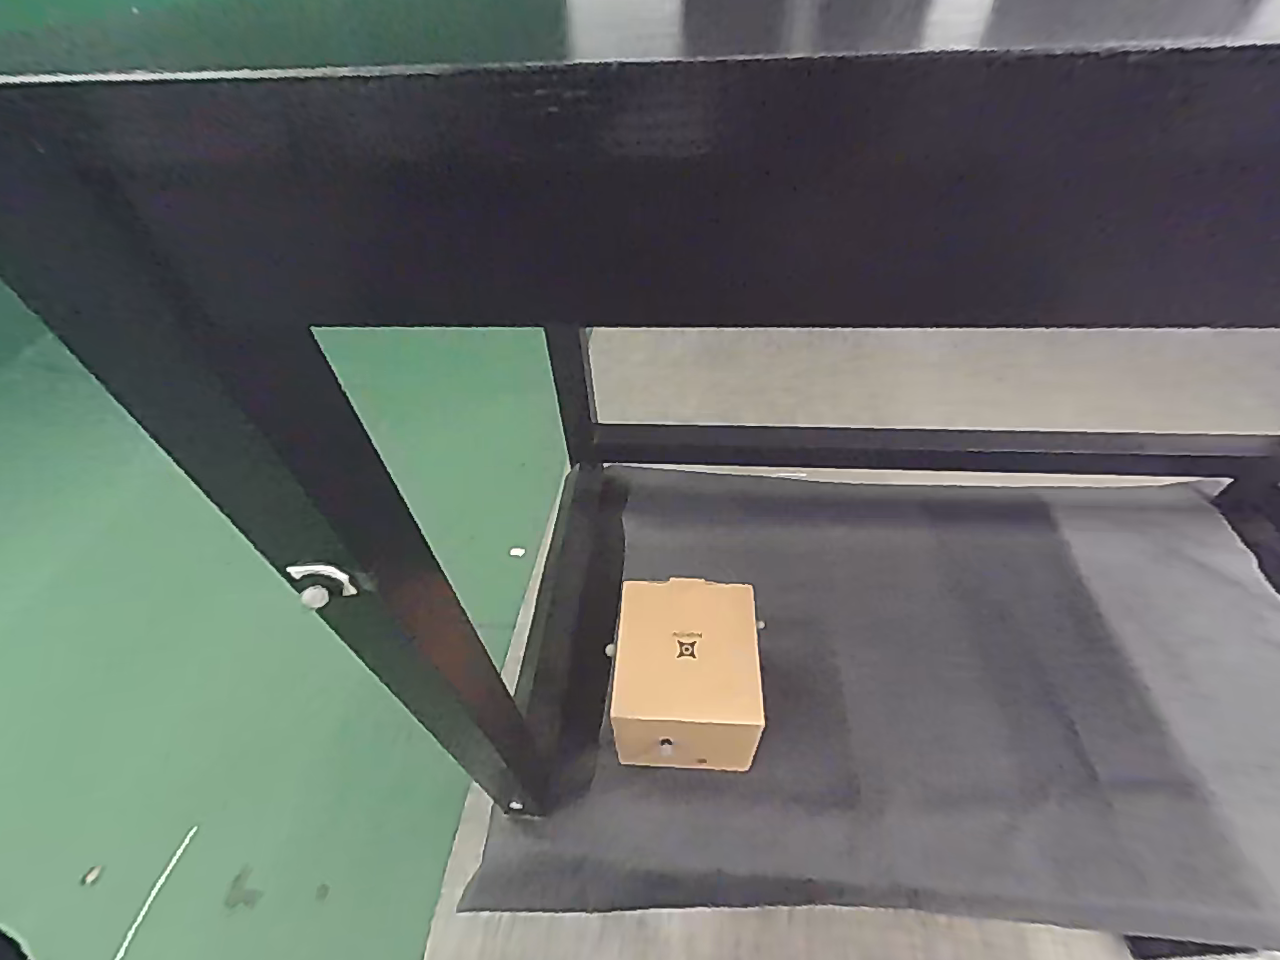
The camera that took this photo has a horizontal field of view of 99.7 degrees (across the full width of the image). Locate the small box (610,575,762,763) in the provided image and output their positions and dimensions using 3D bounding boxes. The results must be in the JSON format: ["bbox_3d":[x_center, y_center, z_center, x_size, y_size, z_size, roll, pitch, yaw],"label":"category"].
[{"bbox_3d":[0.059,0.241,0.686,0.168,0.176,0.179,1,46,4],"label":"small box"}]
